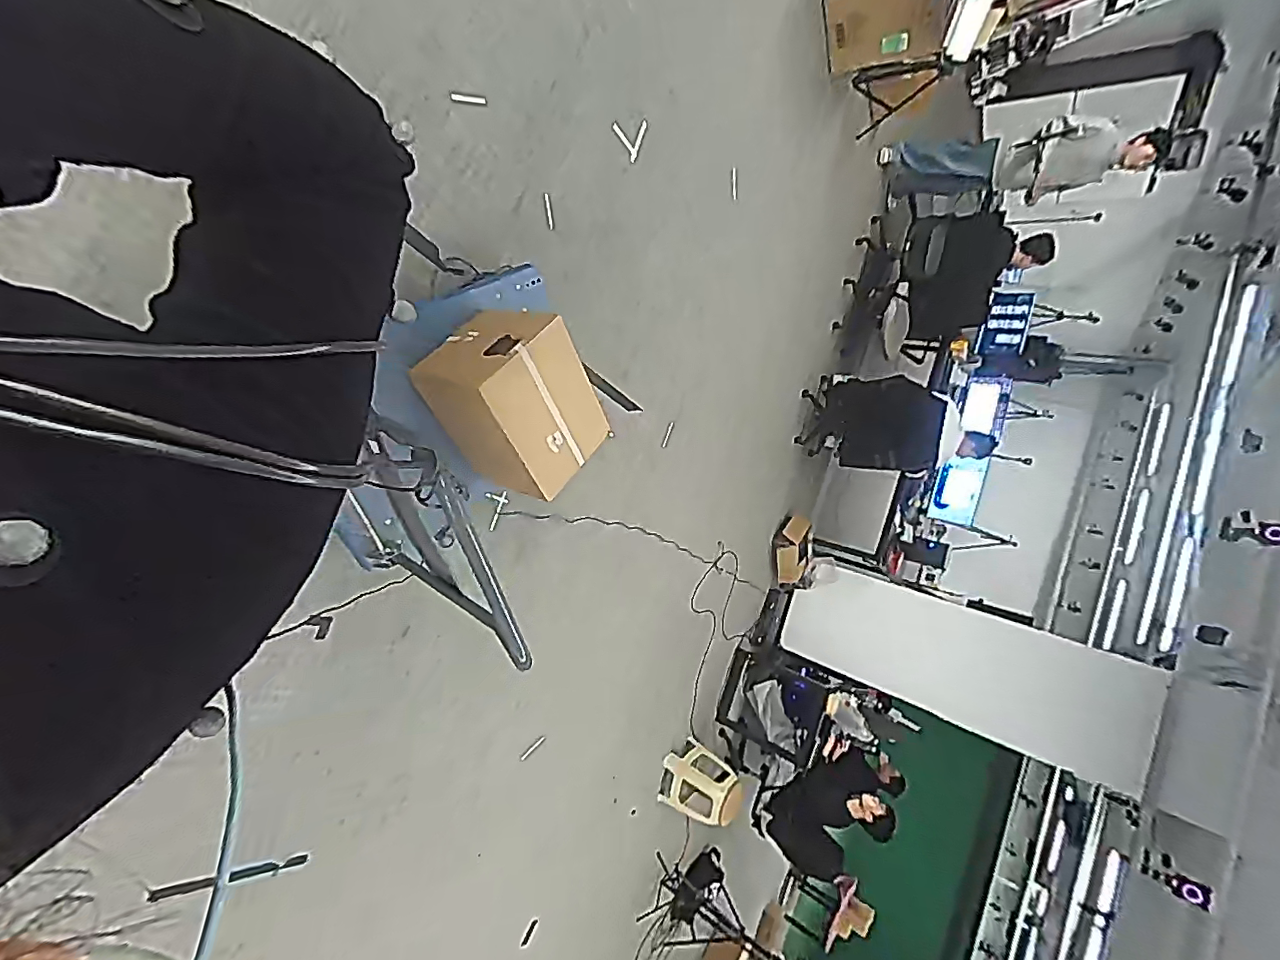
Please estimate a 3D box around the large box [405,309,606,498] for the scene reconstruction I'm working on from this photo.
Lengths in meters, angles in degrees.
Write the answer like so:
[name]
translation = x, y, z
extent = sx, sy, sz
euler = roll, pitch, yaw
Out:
[large box]
translation = -0.358, -0.217, 1.512
extent = 0.320, 0.320, 0.408
euler = -52, 140, -28
